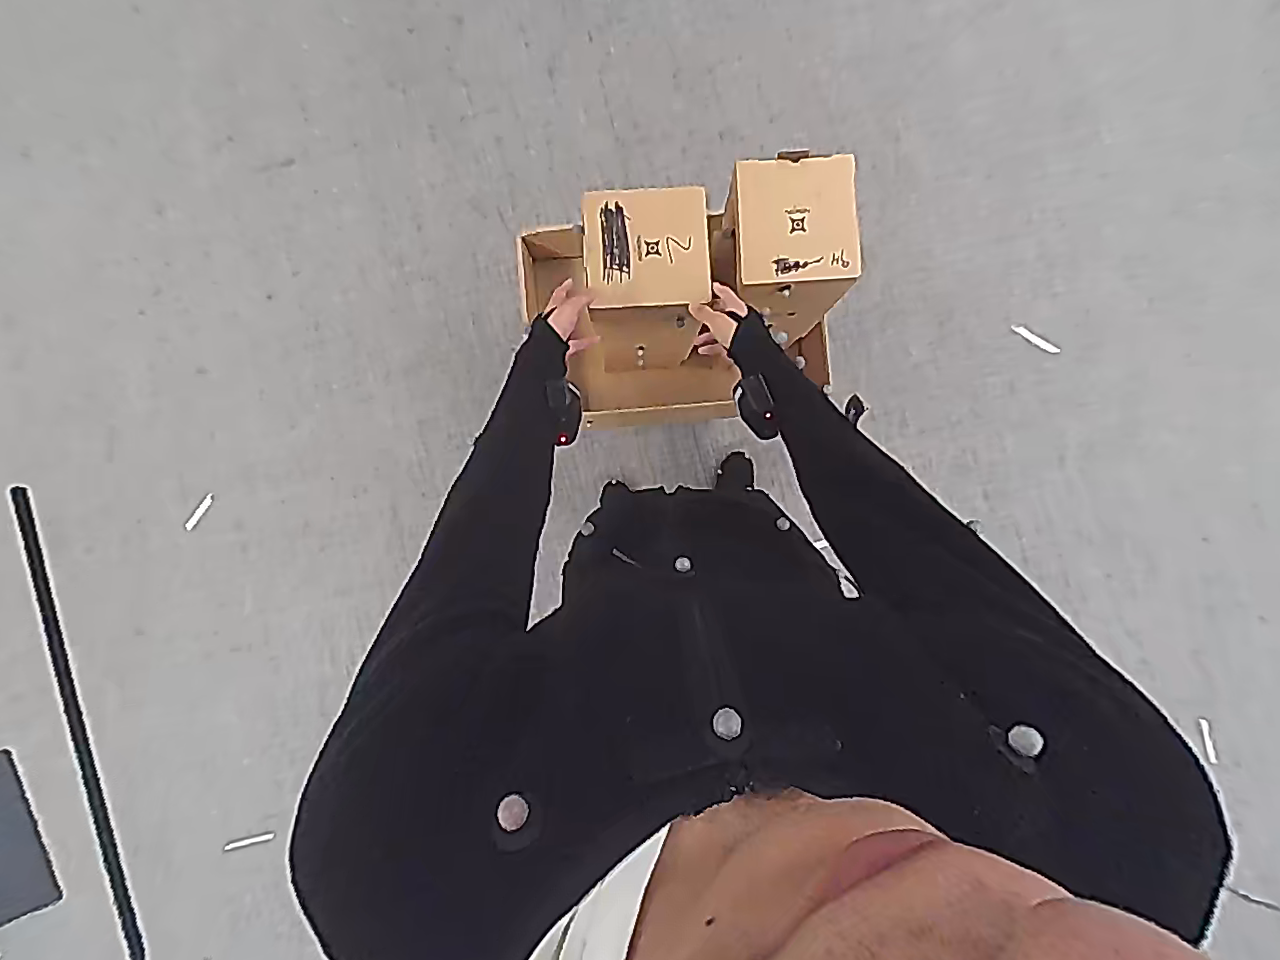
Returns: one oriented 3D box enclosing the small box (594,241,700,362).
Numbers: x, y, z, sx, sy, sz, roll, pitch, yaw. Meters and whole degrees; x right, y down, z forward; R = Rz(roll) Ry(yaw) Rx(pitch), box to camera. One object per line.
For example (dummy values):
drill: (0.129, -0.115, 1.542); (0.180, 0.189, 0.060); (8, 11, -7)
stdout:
small box: (0.009, -0.316, 0.984); (0.179, 0.176, 0.168); (1, 89, 0)

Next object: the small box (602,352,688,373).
small box: (0.003, -0.328, 1.147); (0.179, 0.176, 0.168); (-4, 89, -1)
